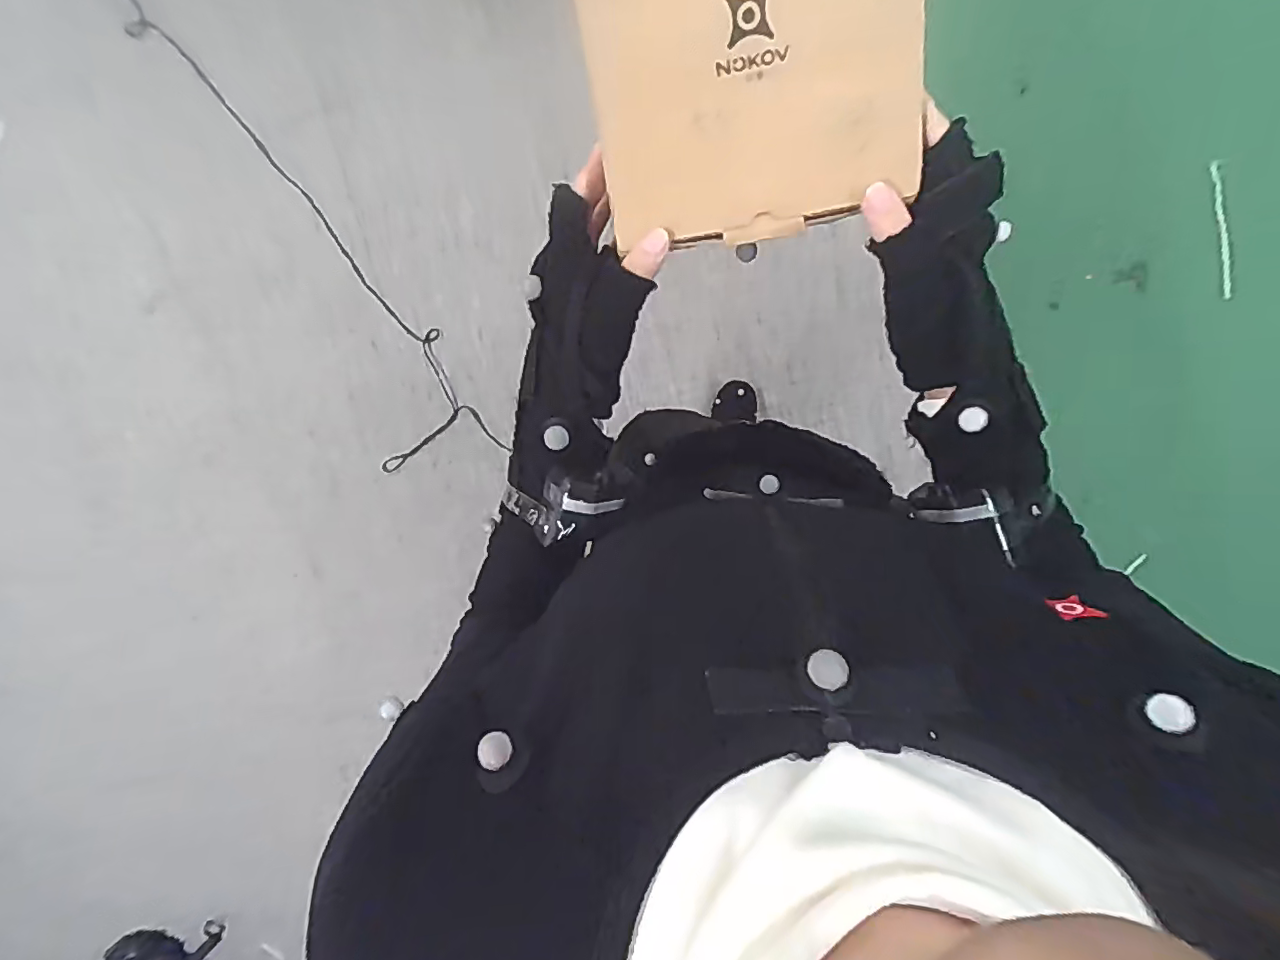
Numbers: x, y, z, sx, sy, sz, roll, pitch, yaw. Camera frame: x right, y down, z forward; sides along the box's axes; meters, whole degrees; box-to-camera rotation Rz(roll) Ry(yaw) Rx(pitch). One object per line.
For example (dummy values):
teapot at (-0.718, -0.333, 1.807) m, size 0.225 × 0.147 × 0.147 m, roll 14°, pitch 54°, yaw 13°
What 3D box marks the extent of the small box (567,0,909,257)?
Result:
small box at (0.055, -0.251, 0.343) m, size 0.168 × 0.176 × 0.179 m, roll -8°, pitch 113°, yaw 8°
